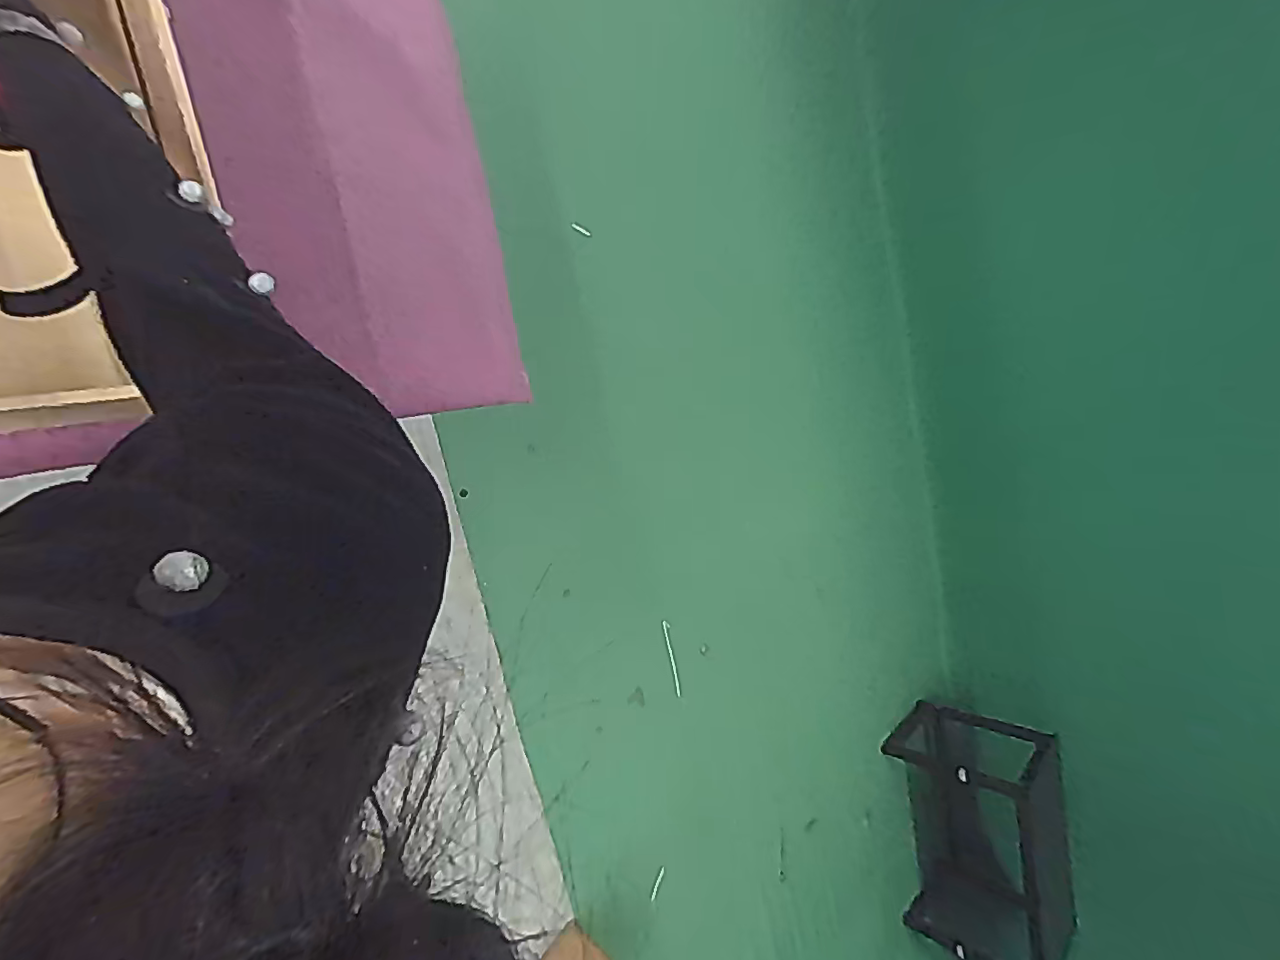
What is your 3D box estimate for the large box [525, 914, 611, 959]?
[{"bbox_3d":[-0.228,1.640,1.592,0.408,0.320,0.320,-38,114,-37],"label":"large box"}]
